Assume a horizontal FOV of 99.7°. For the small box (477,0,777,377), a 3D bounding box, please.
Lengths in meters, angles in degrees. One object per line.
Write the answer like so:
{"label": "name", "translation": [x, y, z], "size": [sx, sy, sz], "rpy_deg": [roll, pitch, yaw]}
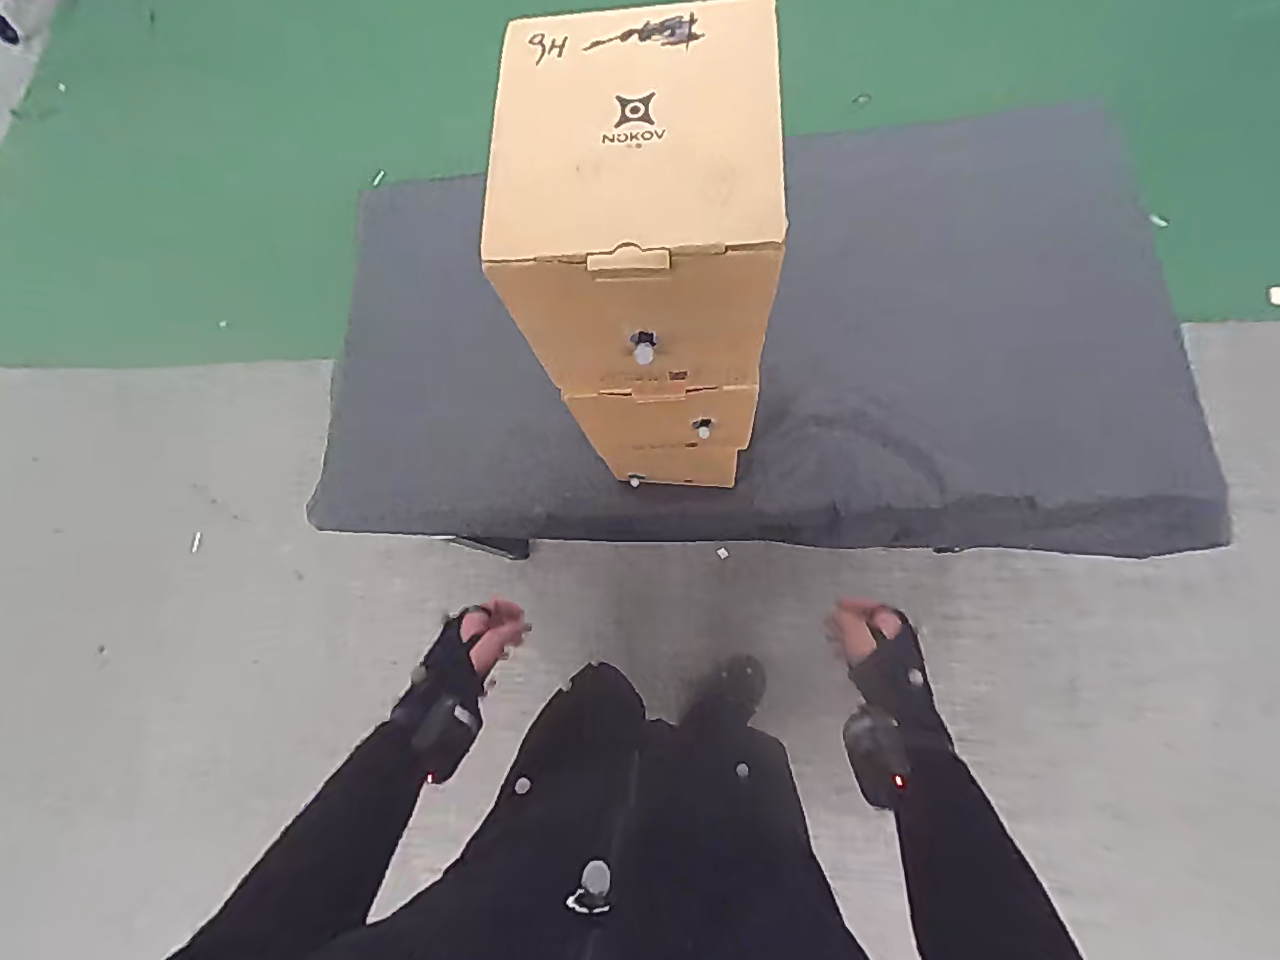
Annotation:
{"label": "small box", "translation": [0.004, -0.180, 0.379], "size": [0.168, 0.176, 0.179], "rpy_deg": [0, 77, 7]}

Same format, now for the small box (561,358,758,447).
{"label": "small box", "translation": [0.024, -0.136, 0.535], "size": [0.168, 0.176, 0.179], "rpy_deg": [-3, 75, 6]}

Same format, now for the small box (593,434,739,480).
{"label": "small box", "translation": [0.046, -0.104, 0.692], "size": [0.168, 0.176, 0.179], "rpy_deg": [4, 75, 9]}
